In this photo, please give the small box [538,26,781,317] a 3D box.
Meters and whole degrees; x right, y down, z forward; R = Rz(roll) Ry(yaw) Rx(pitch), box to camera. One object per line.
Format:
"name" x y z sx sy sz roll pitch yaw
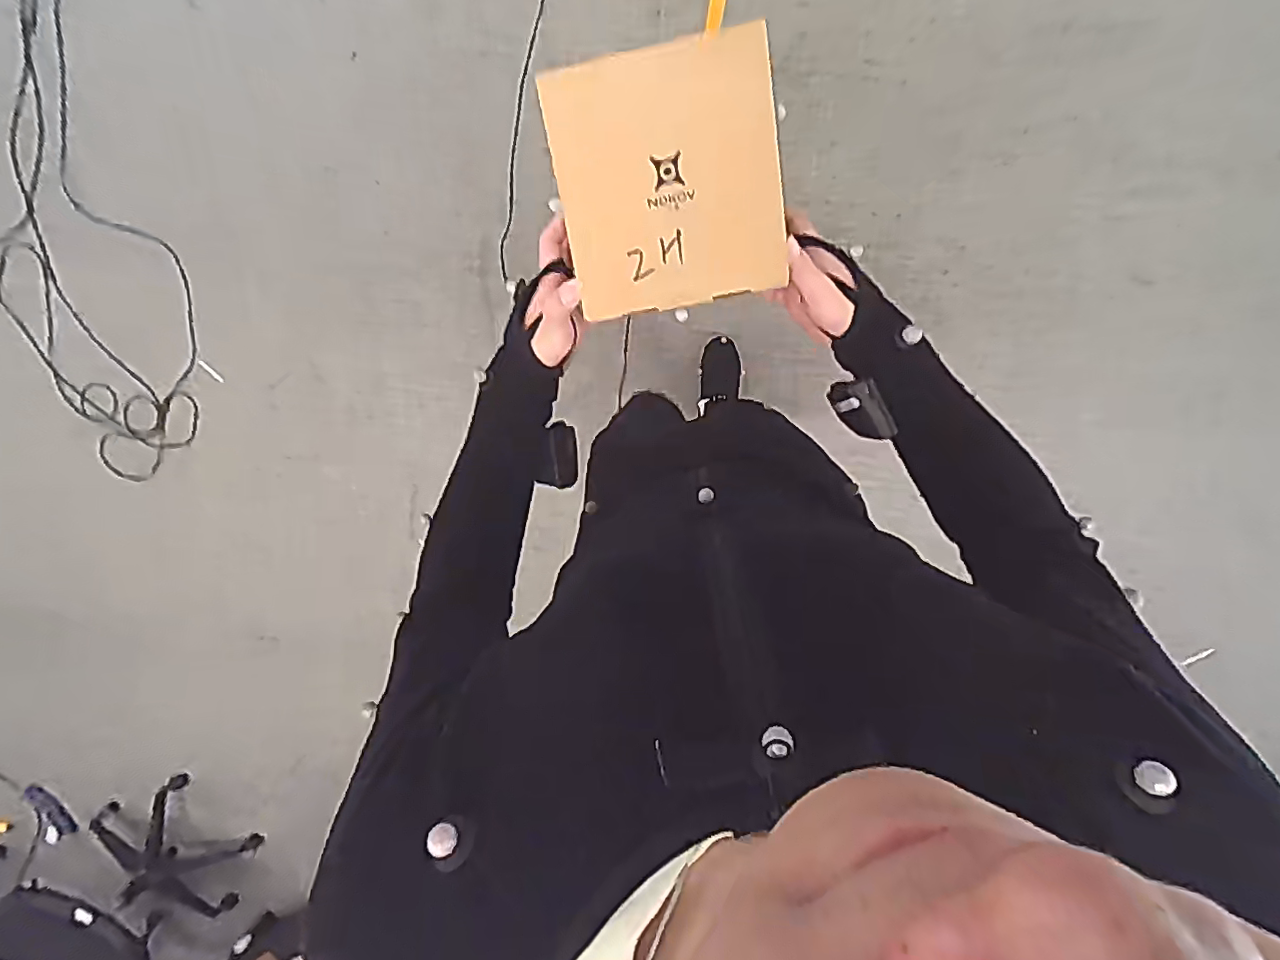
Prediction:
"small box" 0.021 -0.250 0.485 0.168 0.176 0.179 -9 108 6
